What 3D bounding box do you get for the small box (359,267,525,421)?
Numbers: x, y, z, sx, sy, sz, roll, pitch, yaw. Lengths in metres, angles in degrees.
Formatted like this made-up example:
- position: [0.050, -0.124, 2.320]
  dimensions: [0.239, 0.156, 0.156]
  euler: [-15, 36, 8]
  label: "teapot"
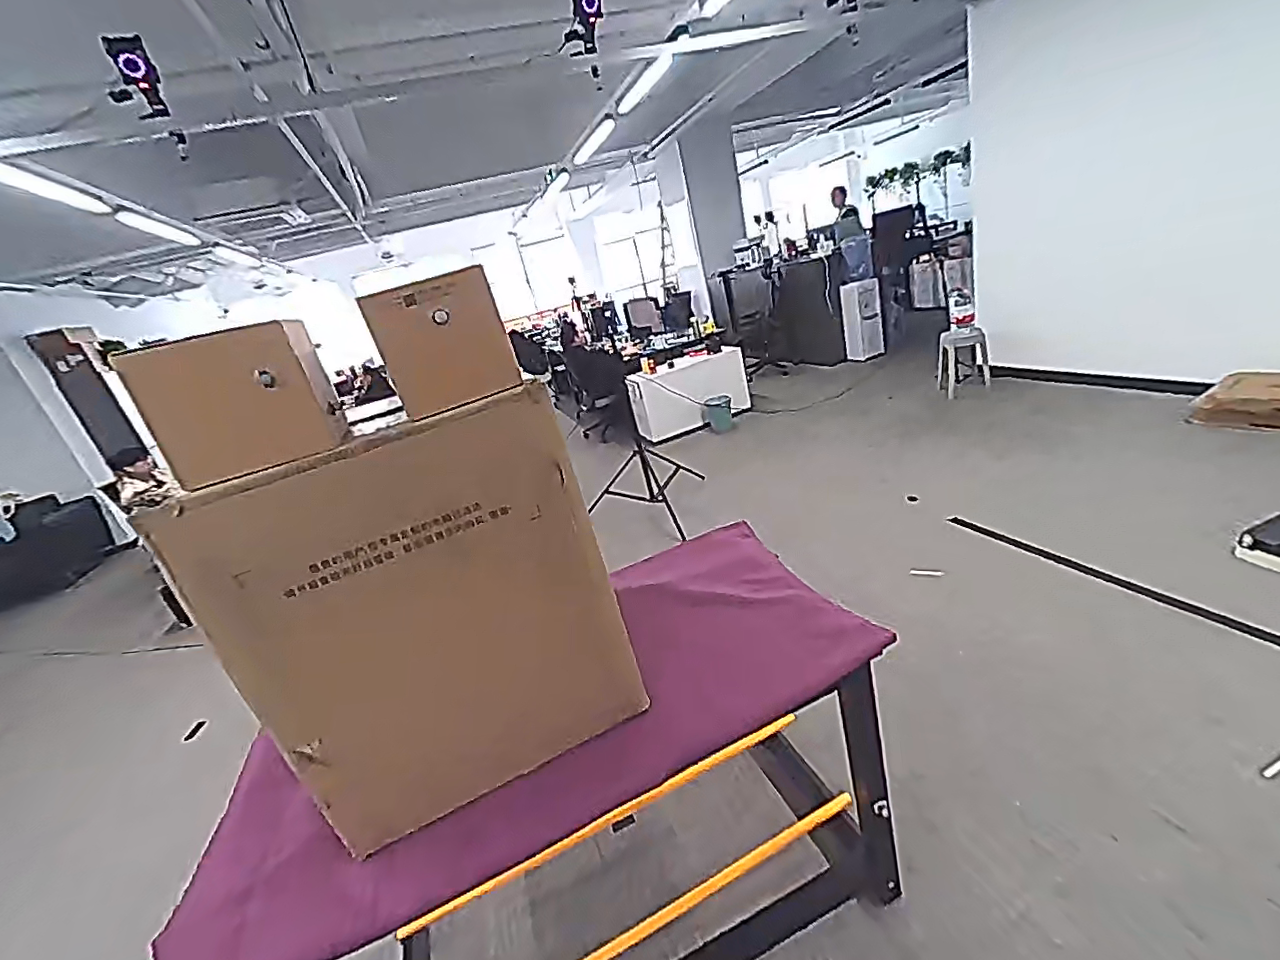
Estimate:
- position: [-0.287, -0.203, 0.789]
  dimensions: [0.168, 0.176, 0.179]
  euler: [-23, 22, -16]
  label: "small box"
